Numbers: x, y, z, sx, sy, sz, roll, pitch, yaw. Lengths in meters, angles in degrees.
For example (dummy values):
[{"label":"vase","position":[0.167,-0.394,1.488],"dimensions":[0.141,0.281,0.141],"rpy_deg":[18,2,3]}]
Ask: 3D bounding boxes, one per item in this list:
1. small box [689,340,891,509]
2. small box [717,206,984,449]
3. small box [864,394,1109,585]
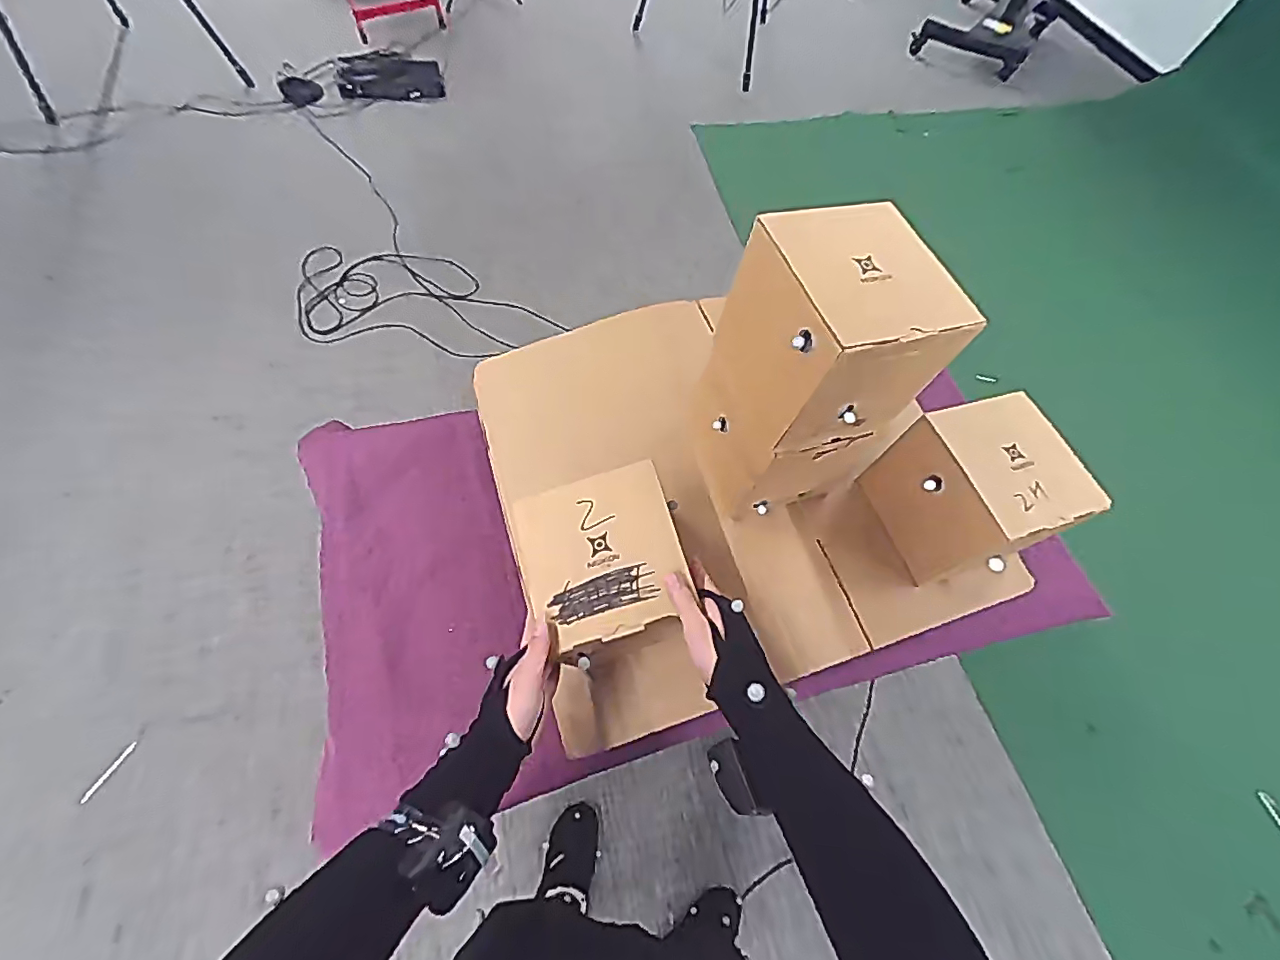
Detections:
[{"label":"small box","position":[0.182,-0.076,0.715],"dimensions":[0.168,0.176,0.179],"rpy_deg":[-13,64,-17]},{"label":"small box","position":[0.202,-0.159,0.578],"dimensions":[0.168,0.176,0.179],"rpy_deg":[-14,65,-18]},{"label":"small box","position":[0.432,0.016,0.710],"dimensions":[0.168,0.176,0.179],"rpy_deg":[-13,65,-16]}]
